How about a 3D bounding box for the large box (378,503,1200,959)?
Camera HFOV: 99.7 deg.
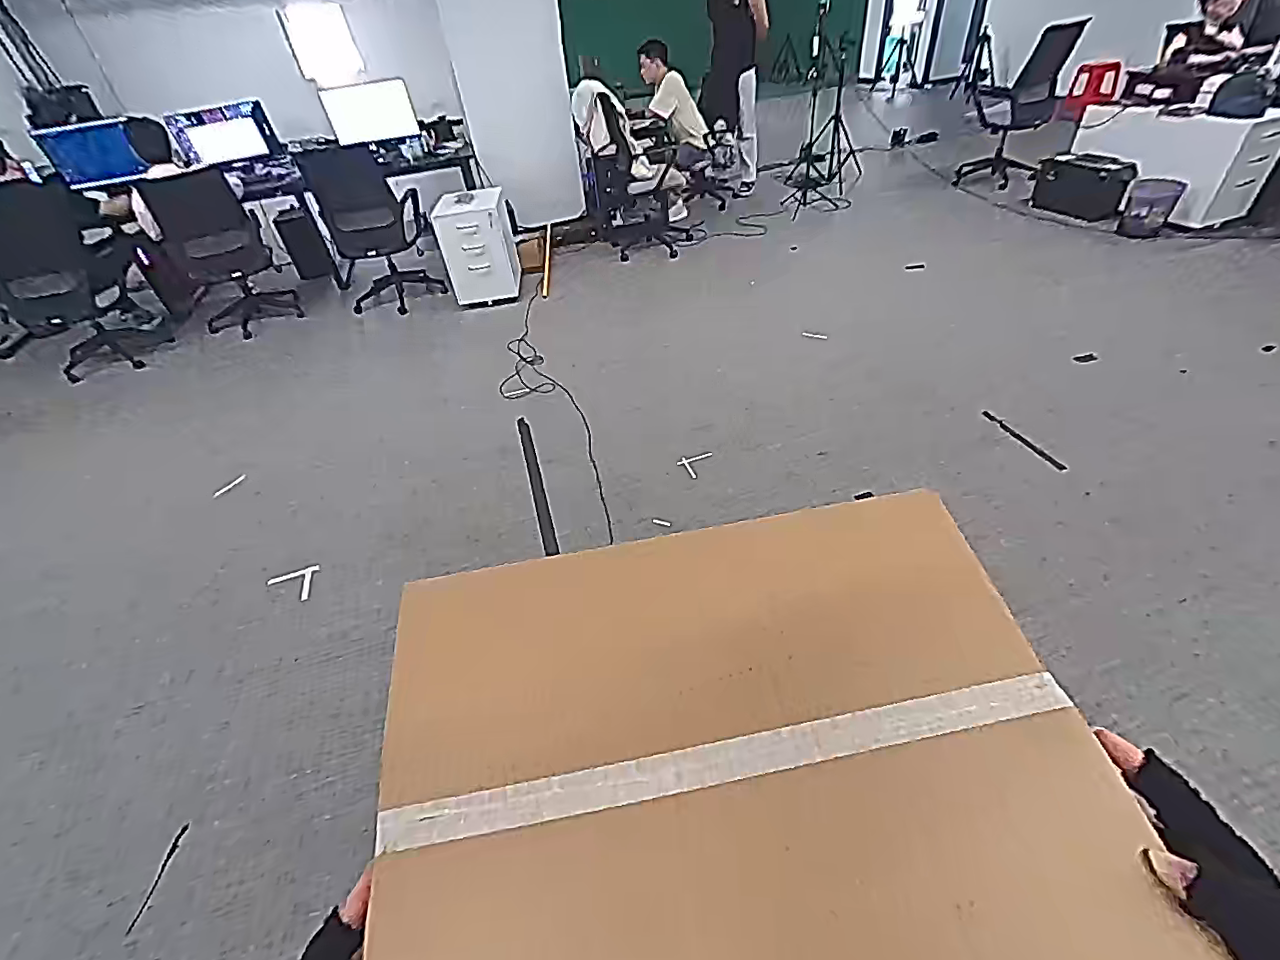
[{"bbox_3d":[0.063,0.261,0.438,0.408,0.320,0.320,-11,52,-3],"label":"large box"}]
